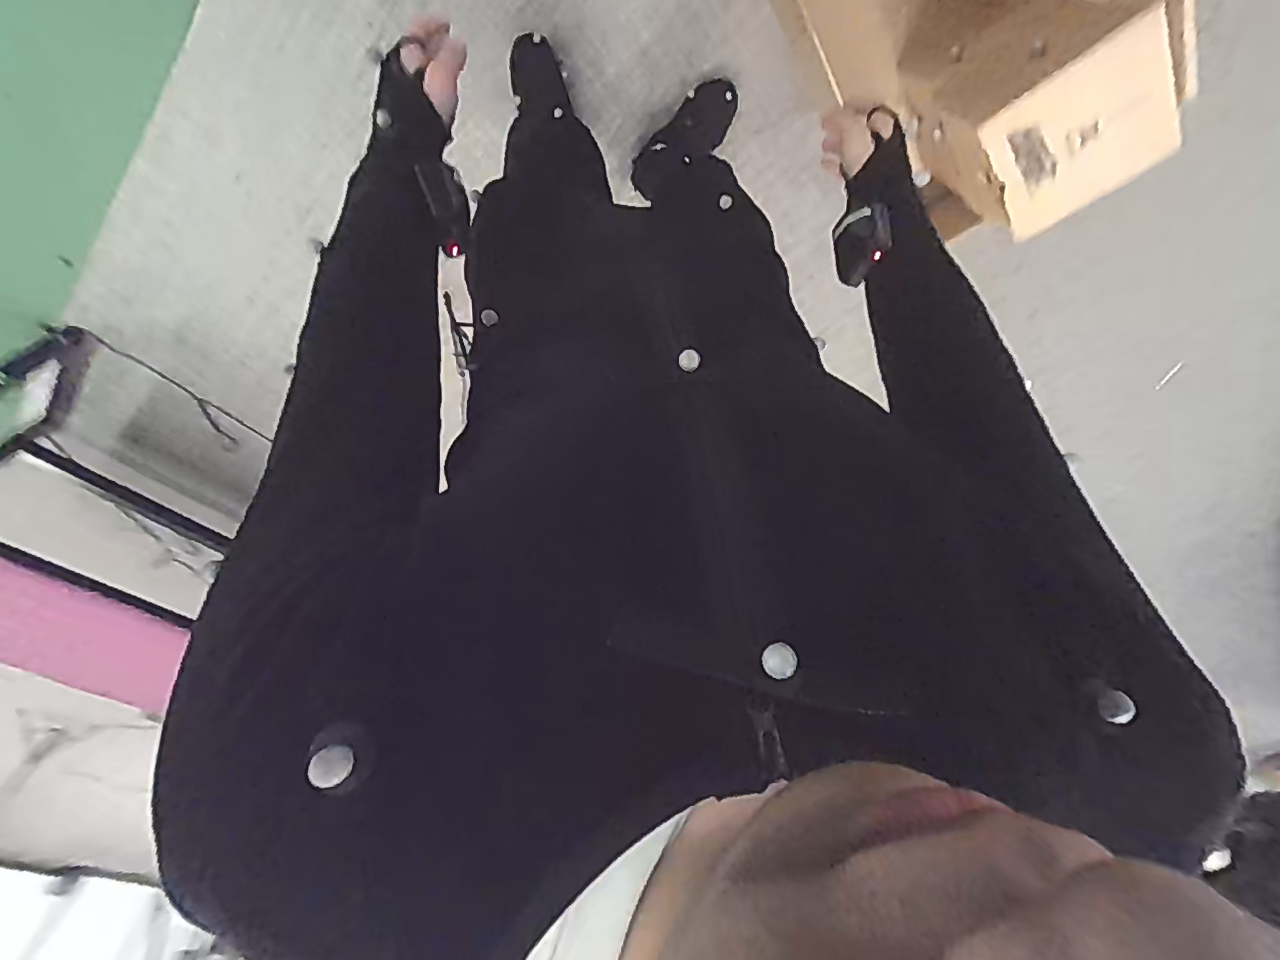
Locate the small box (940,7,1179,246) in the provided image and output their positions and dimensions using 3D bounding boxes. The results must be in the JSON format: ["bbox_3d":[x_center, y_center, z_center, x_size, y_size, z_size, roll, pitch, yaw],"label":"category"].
[{"bbox_3d":[0.503,-0.437,0.673,0.179,0.176,0.168,-29,125,26],"label":"small box"}]

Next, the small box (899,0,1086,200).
[{"bbox_3d":[0.509,-0.555,0.787,0.179,0.176,0.168,-25,127,24],"label":"small box"}]
